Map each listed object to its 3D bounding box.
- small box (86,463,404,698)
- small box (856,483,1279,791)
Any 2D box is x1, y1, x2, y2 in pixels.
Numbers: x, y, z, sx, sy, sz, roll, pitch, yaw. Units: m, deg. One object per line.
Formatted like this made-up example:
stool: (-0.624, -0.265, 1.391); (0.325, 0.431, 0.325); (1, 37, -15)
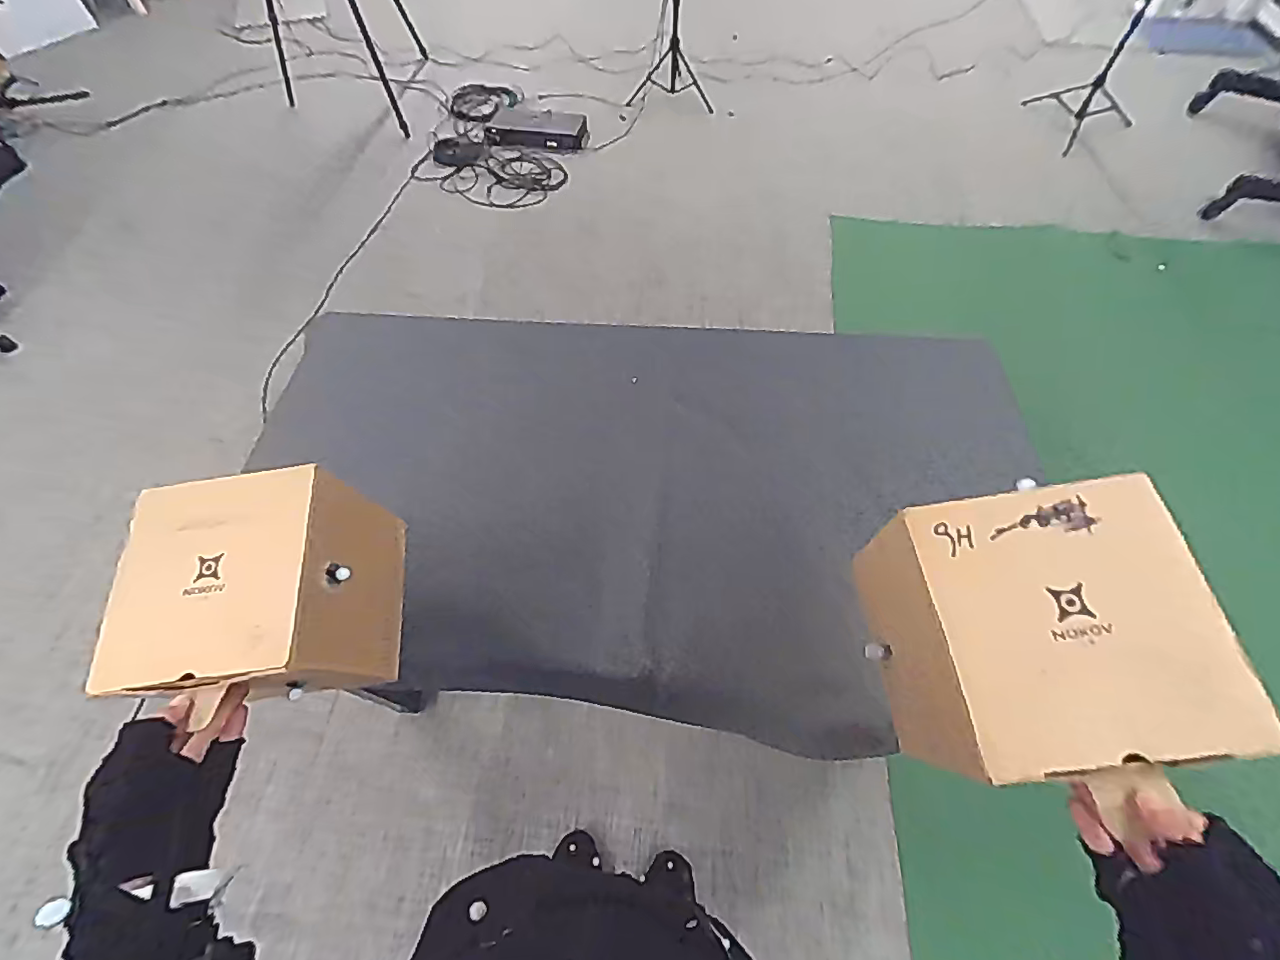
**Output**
small box: (-0.344, 0.106, 0.514); (0.168, 0.176, 0.179); (-8, 66, 2)
small box: (0.286, 0.120, 0.417); (0.168, 0.176, 0.179); (-8, 68, 4)
